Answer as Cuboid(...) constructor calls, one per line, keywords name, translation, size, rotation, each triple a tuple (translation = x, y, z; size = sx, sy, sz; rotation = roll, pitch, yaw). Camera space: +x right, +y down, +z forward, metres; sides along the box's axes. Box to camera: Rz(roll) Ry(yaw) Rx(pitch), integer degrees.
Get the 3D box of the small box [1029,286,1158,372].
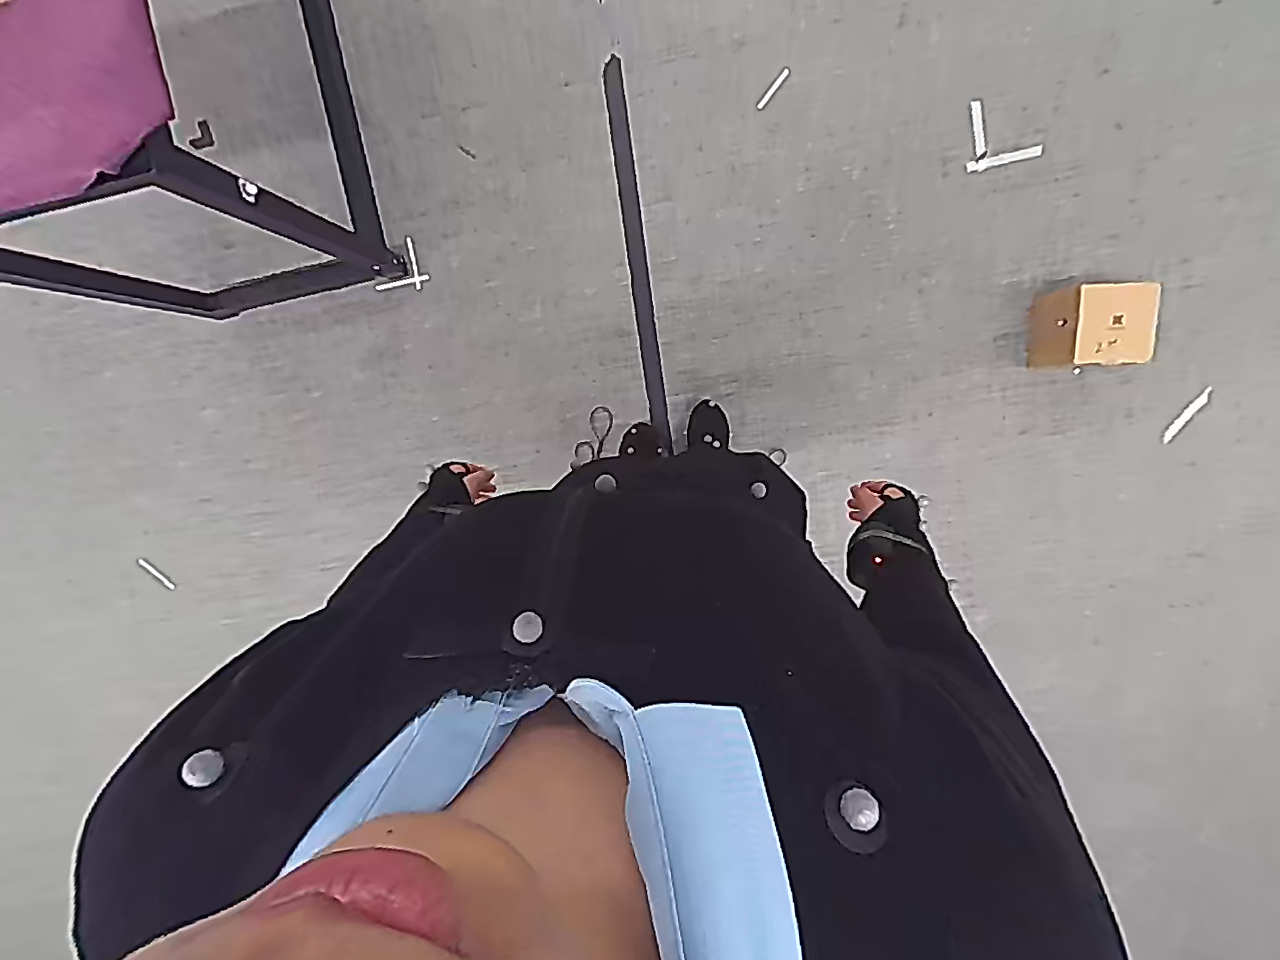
Cuboid(name="small box", translation=(1.057, -0.350, 1.276), size=(0.168, 0.176, 0.179), rotation=(1, 98, 5))
